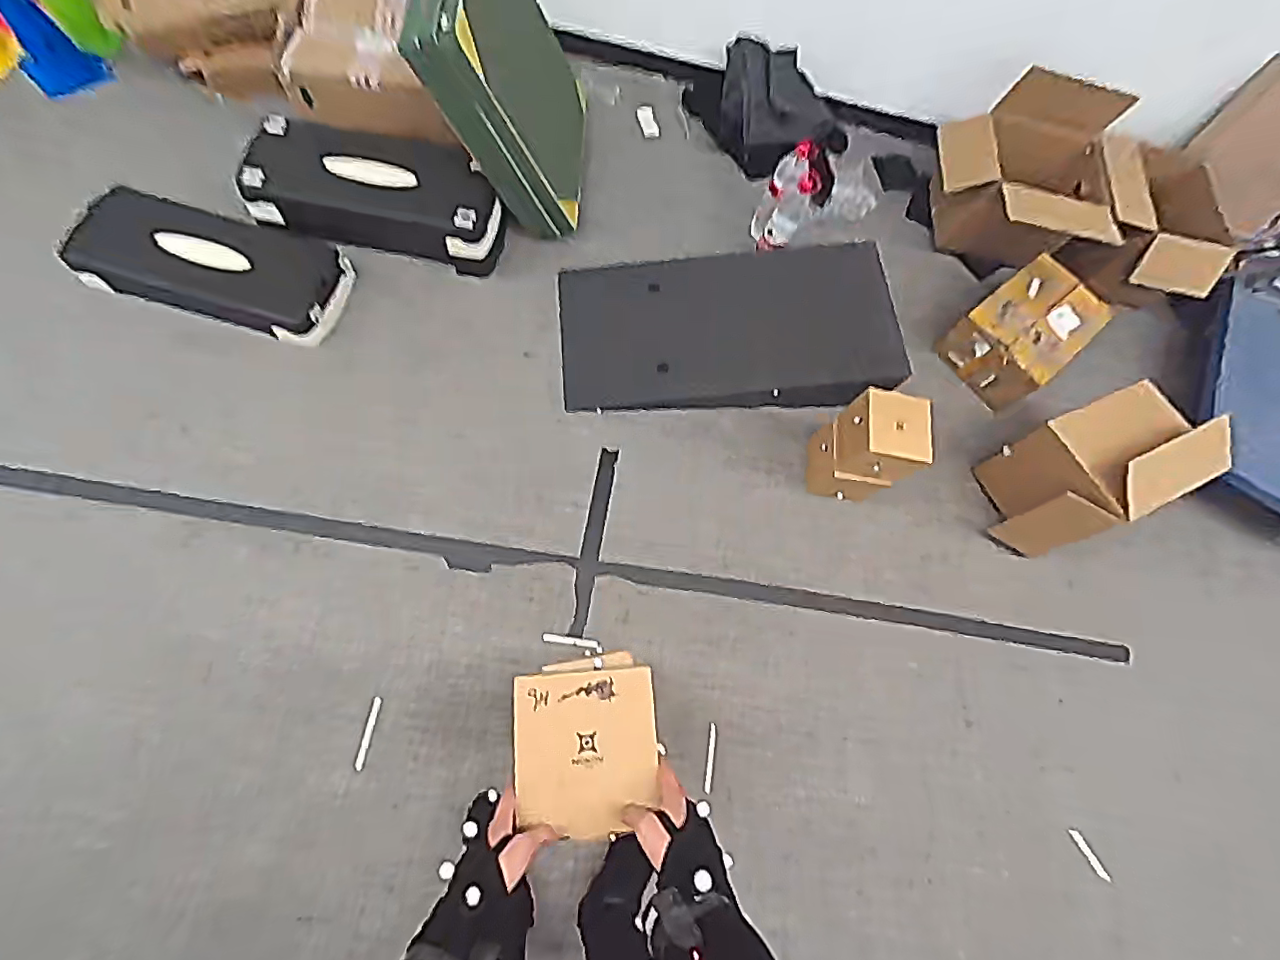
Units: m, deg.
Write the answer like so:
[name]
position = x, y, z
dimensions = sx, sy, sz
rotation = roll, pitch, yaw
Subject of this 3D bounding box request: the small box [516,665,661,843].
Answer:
[small box]
position = -0.062, 0.338, 0.700
dimensions = 0.168, 0.176, 0.179
rotation = -3, 72, -3
